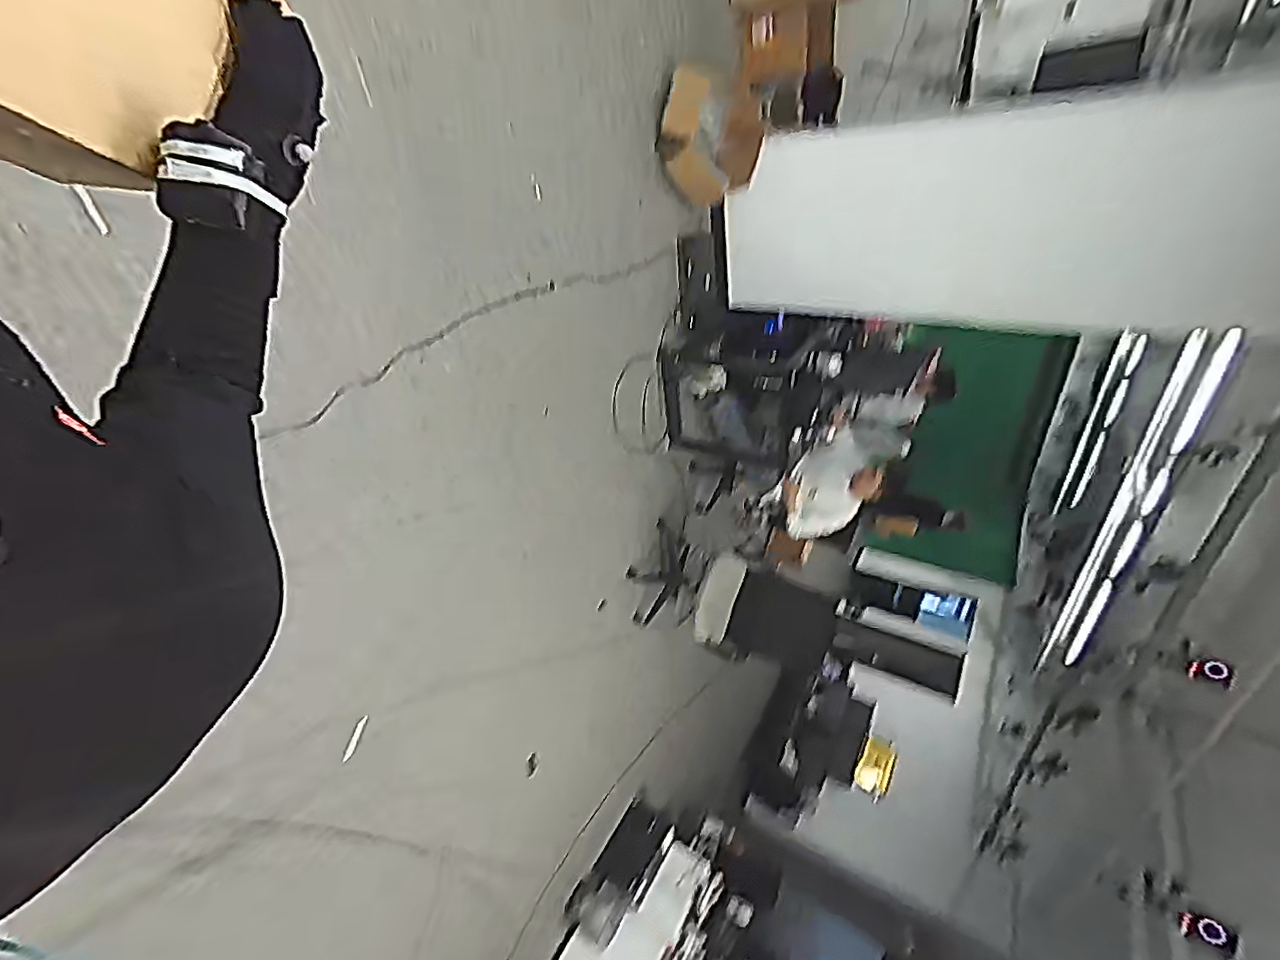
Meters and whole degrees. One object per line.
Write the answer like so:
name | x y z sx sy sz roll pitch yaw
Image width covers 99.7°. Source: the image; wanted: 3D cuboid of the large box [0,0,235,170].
large box | -0.513 -0.438 0.296 0.408 0.320 0.320 13 96 -62
